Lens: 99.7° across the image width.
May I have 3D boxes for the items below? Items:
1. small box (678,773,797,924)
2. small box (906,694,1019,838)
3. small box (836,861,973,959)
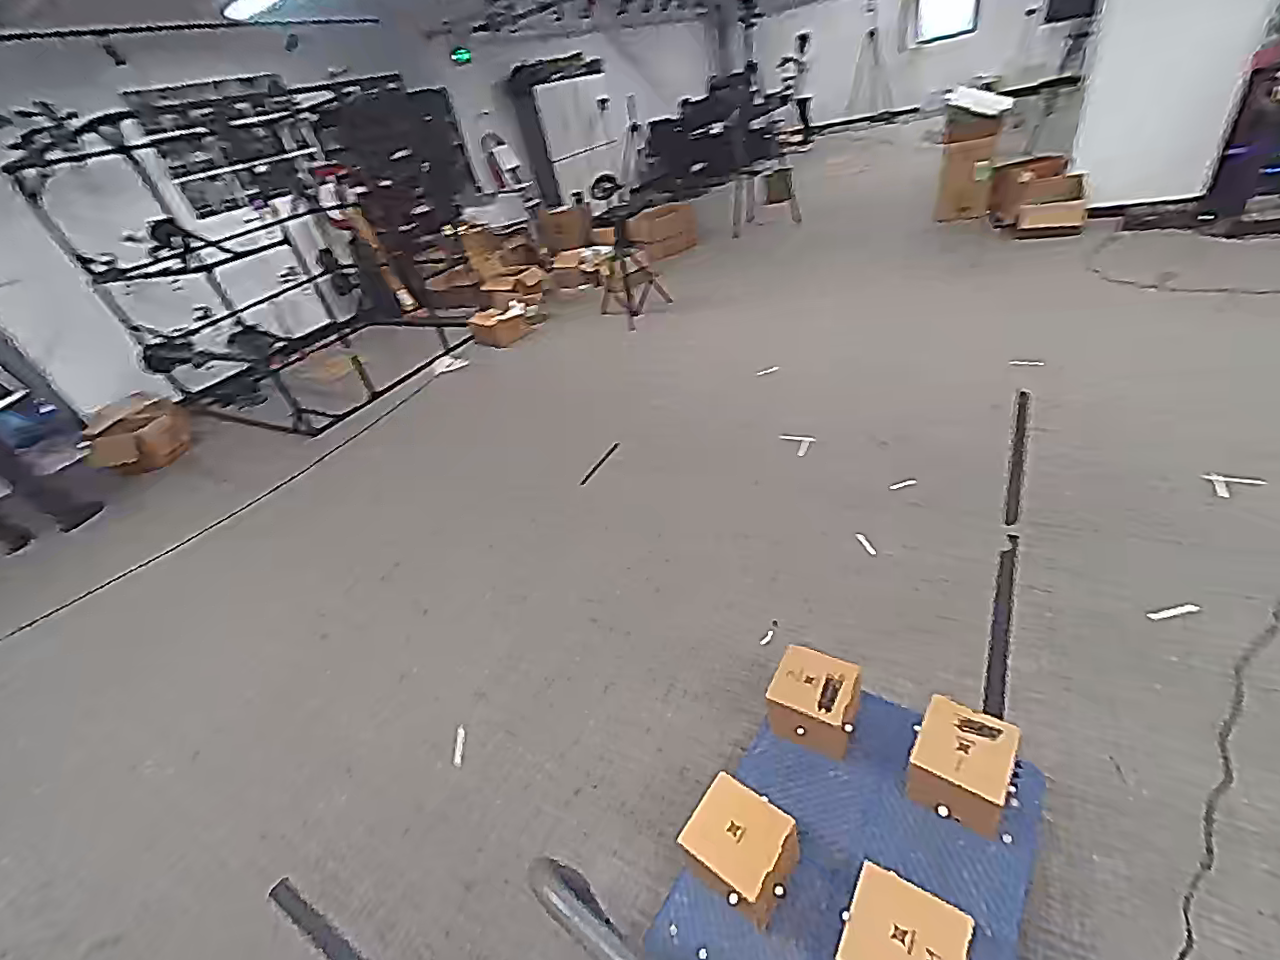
[{"bbox_3d":[0.205,0.754,1.107,0.179,0.176,0.168,16,46,37],"label":"small box"},{"bbox_3d":[0.673,0.601,1.141,0.168,0.176,0.179,15,46,36],"label":"small box"},{"bbox_3d":[0.449,0.815,0.927,0.179,0.176,0.168,12,42,33],"label":"small box"}]
